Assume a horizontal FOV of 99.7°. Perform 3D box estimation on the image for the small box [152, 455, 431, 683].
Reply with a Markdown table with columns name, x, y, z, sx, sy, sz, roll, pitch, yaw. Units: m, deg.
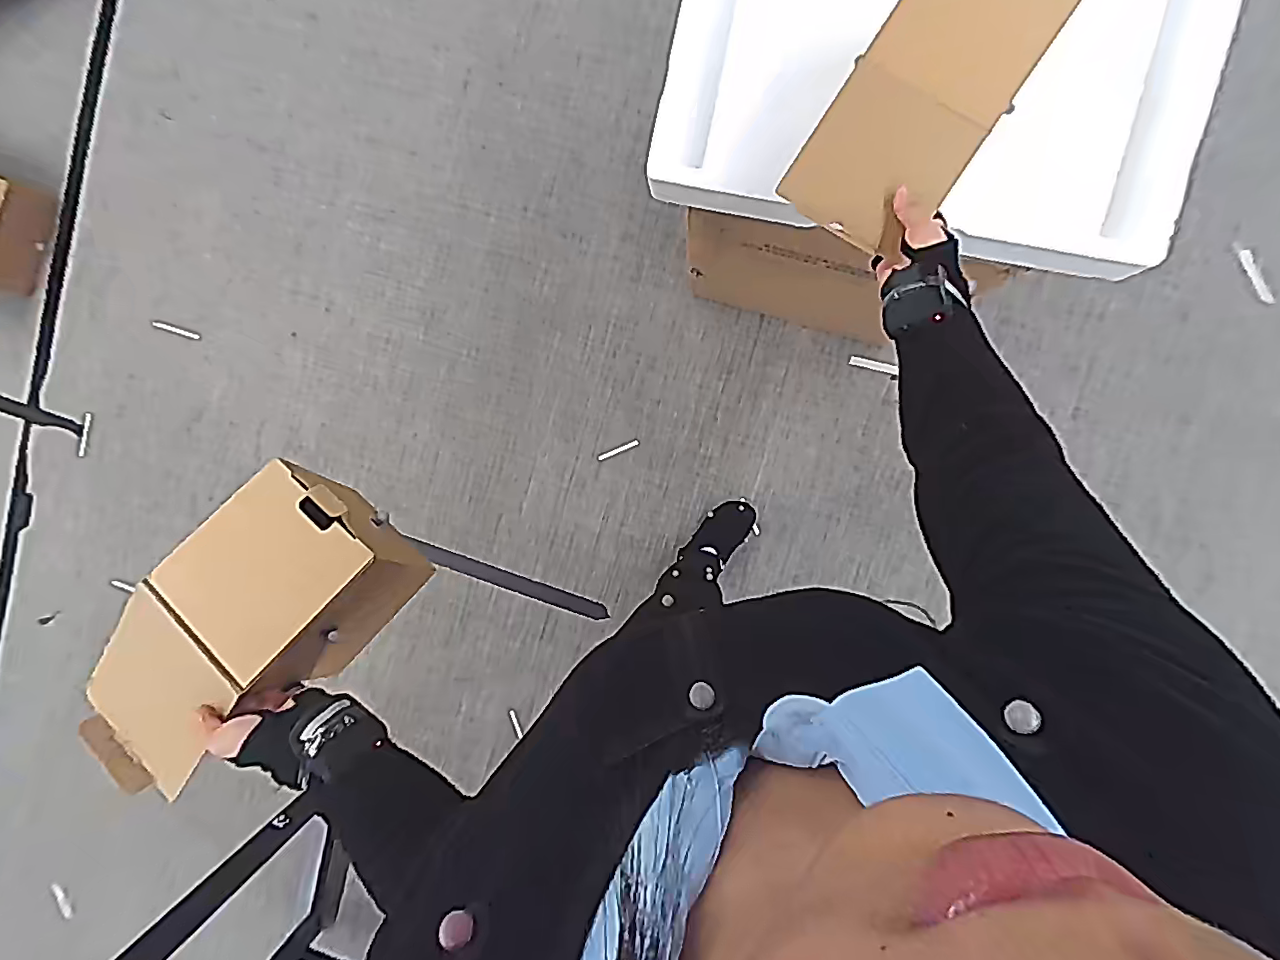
| name | x | y | z | sx | sy | sz | roll | pitch | yaw |
| --- | --- | --- | --- | --- | --- | --- | --- | --- | --- |
| small box | -0.382 | 0.105 | 0.629 | 0.168 | 0.176 | 0.179 | 40 | 80 | 10 |
